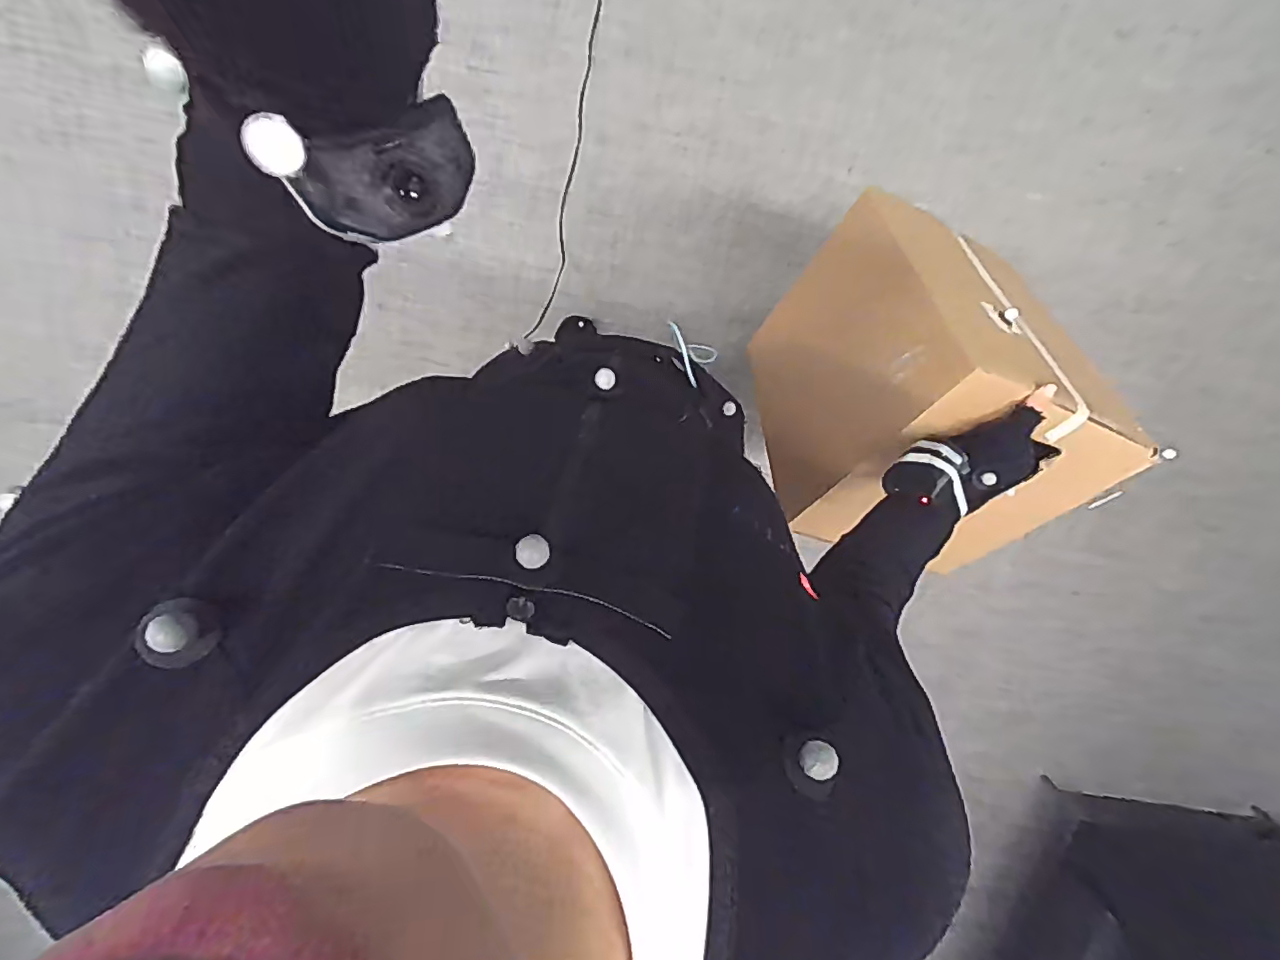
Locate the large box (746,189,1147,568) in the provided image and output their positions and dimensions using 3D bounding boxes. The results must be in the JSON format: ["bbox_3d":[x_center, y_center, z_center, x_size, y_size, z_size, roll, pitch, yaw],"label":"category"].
[{"bbox_3d":[0.392,-0.136,0.805,0.320,0.408,0.320,16,140,-20],"label":"large box"}]
